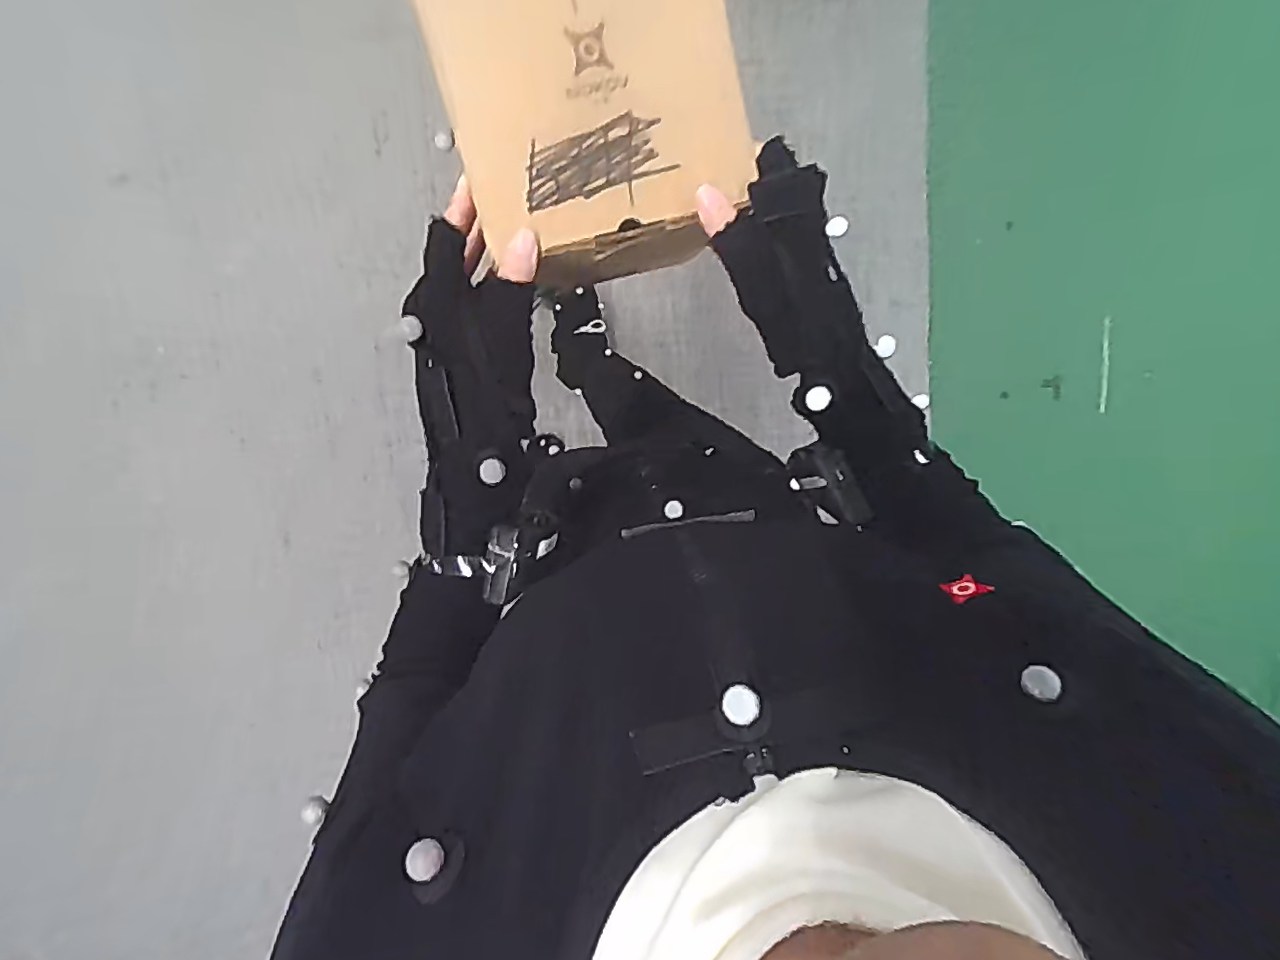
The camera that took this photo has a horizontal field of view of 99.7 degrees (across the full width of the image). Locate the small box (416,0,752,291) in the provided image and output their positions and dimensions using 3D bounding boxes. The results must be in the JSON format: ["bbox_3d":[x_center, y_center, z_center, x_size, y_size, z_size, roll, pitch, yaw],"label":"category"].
[{"bbox_3d":[-0.040,-0.243,0.382,0.168,0.176,0.179,-16,101,-6],"label":"small box"}]
